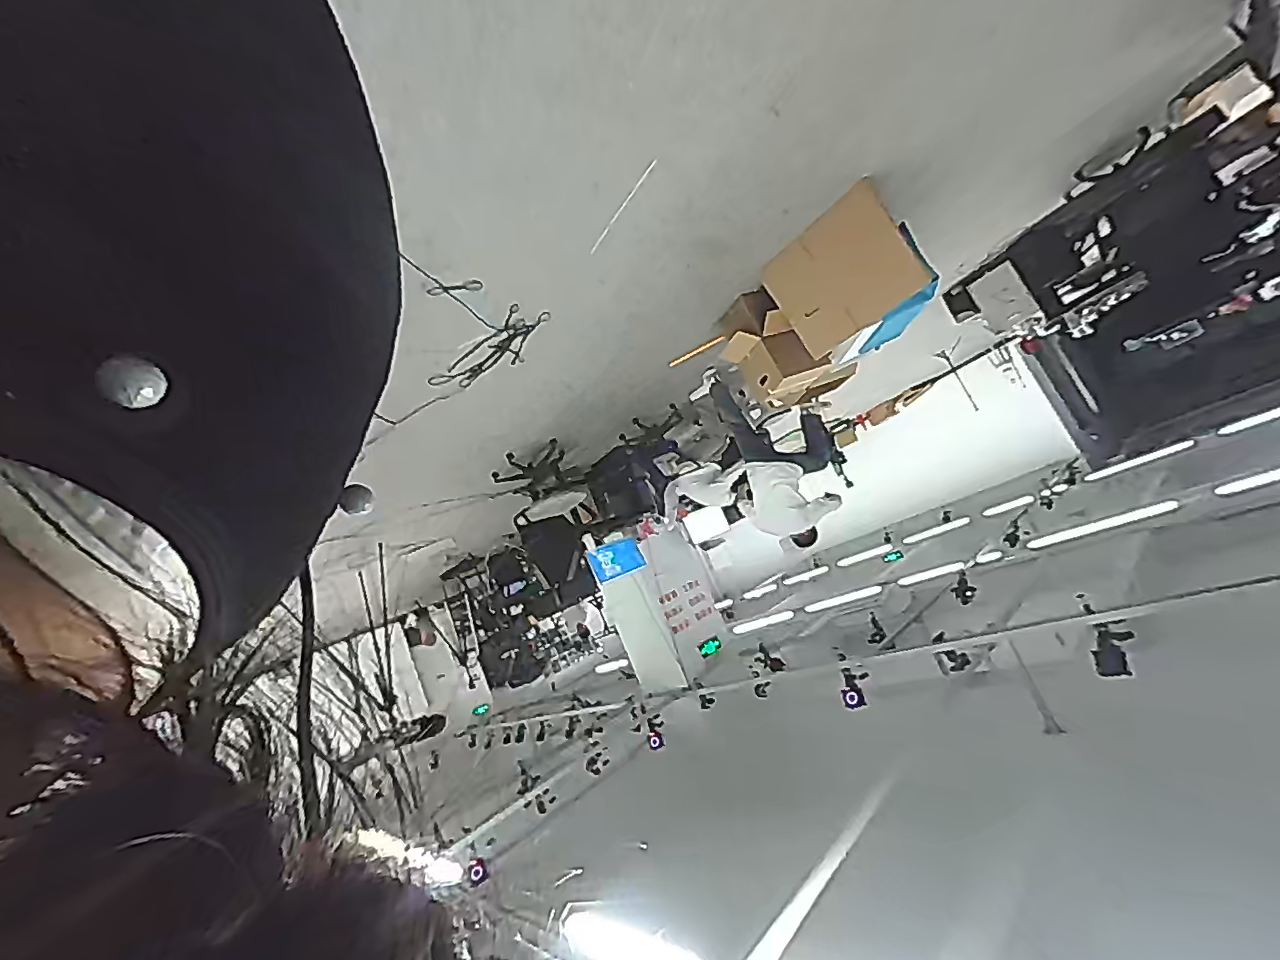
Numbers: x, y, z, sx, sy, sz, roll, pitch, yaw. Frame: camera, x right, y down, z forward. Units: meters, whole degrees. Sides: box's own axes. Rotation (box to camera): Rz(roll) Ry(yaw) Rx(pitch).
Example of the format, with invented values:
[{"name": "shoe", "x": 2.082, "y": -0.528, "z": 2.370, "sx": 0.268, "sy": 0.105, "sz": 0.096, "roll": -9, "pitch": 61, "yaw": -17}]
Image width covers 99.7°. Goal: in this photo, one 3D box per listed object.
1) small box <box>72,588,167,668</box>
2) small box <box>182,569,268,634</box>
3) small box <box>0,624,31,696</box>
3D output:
[{"name": "small box", "x": -1.592, "y": 0.444, "z": 1.651, "sx": 0.179, "sy": 0.176, "sz": 0.168, "roll": -30, "pitch": 170, "yaw": 32}, {"name": "small box", "x": -1.440, "y": 0.422, "z": 1.883, "sx": 0.168, "sy": 0.176, "sz": 0.179, "roll": -22, "pitch": 170, "yaw": -18}, {"name": "small box", "x": -1.797, "y": 0.504, "z": 1.453, "sx": 0.168, "sy": 0.176, "sz": 0.179, "roll": -17, "pitch": 167, "yaw": -40}]
